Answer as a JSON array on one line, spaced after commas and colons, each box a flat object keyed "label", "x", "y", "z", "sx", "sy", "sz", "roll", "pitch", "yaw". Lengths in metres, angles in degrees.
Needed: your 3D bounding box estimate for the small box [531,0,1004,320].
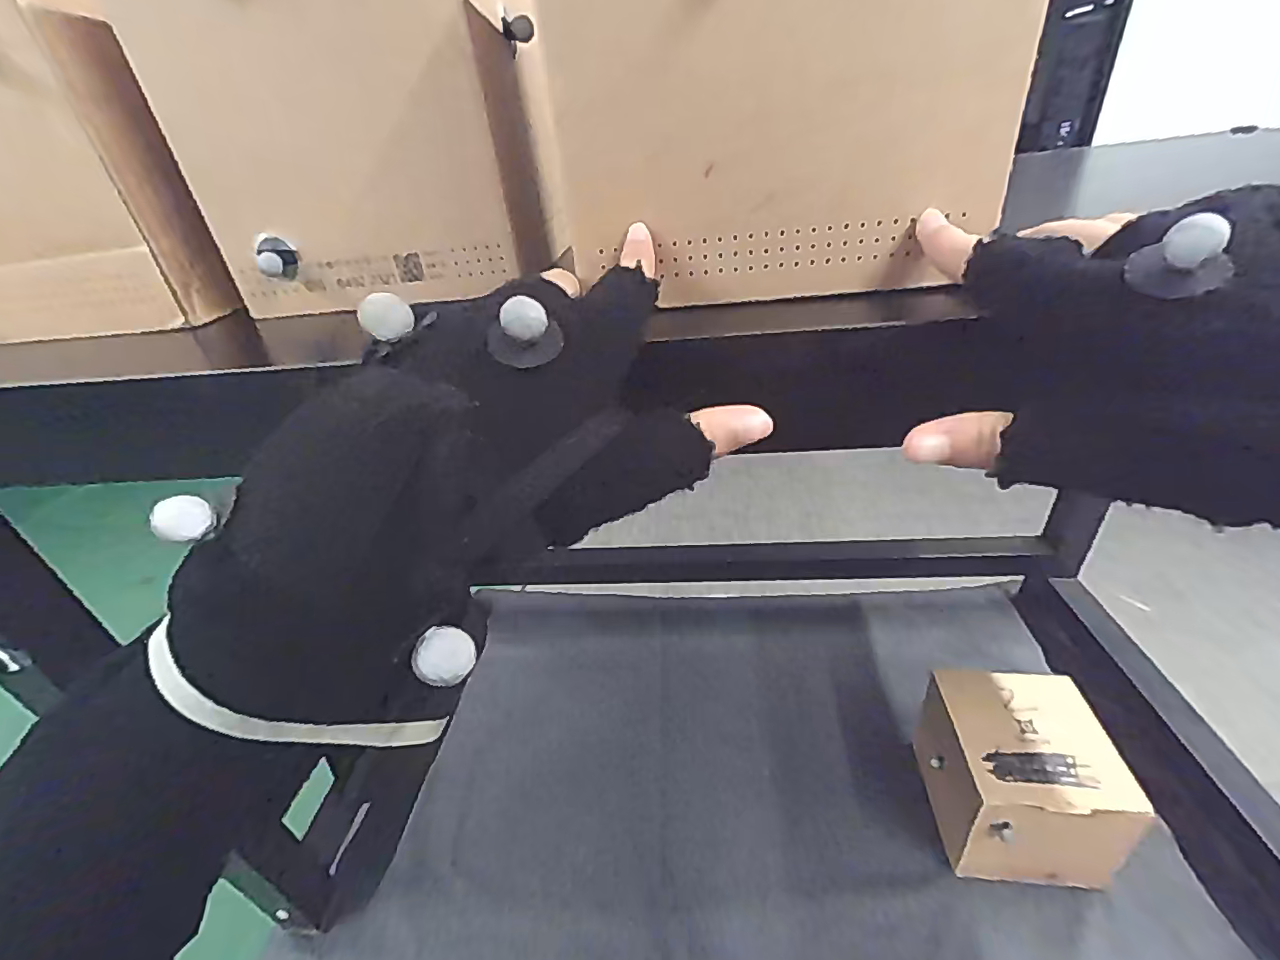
[{"label": "small box", "x": 0.054, "y": -0.185, "z": 0.267, "sx": 0.179, "sy": 0.176, "sz": 0.168, "roll": -2, "pitch": 33, "yaw": 8}]
